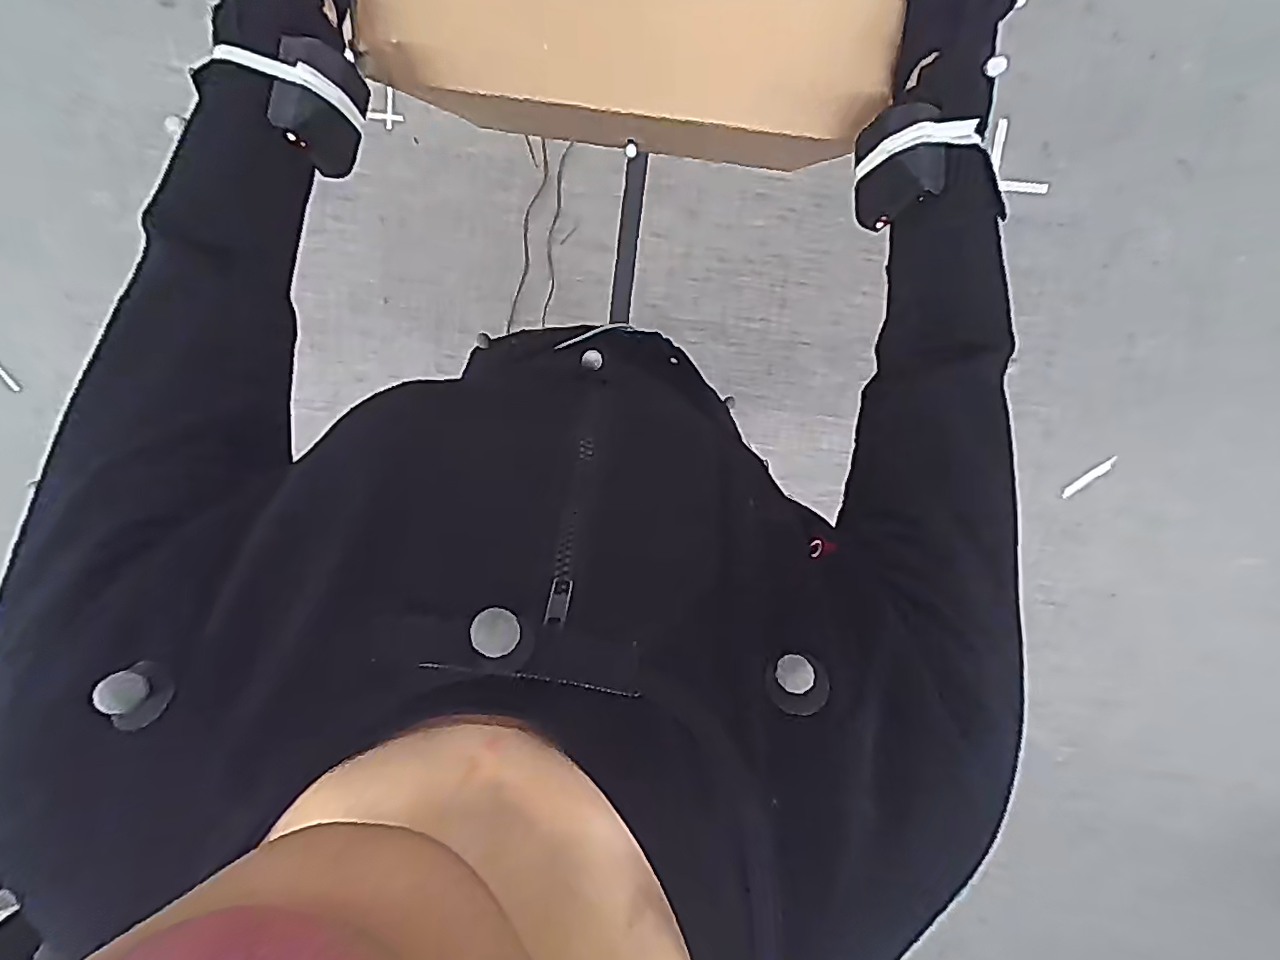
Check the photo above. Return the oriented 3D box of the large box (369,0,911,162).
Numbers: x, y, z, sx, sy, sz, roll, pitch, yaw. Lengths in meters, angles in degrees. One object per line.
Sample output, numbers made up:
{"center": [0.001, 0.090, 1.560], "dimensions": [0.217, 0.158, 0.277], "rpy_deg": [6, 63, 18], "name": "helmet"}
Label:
{"center": [0.013, -0.493, 0.490], "dimensions": [0.408, 0.320, 0.320], "rpy_deg": [7, 116, -1], "name": "large box"}
